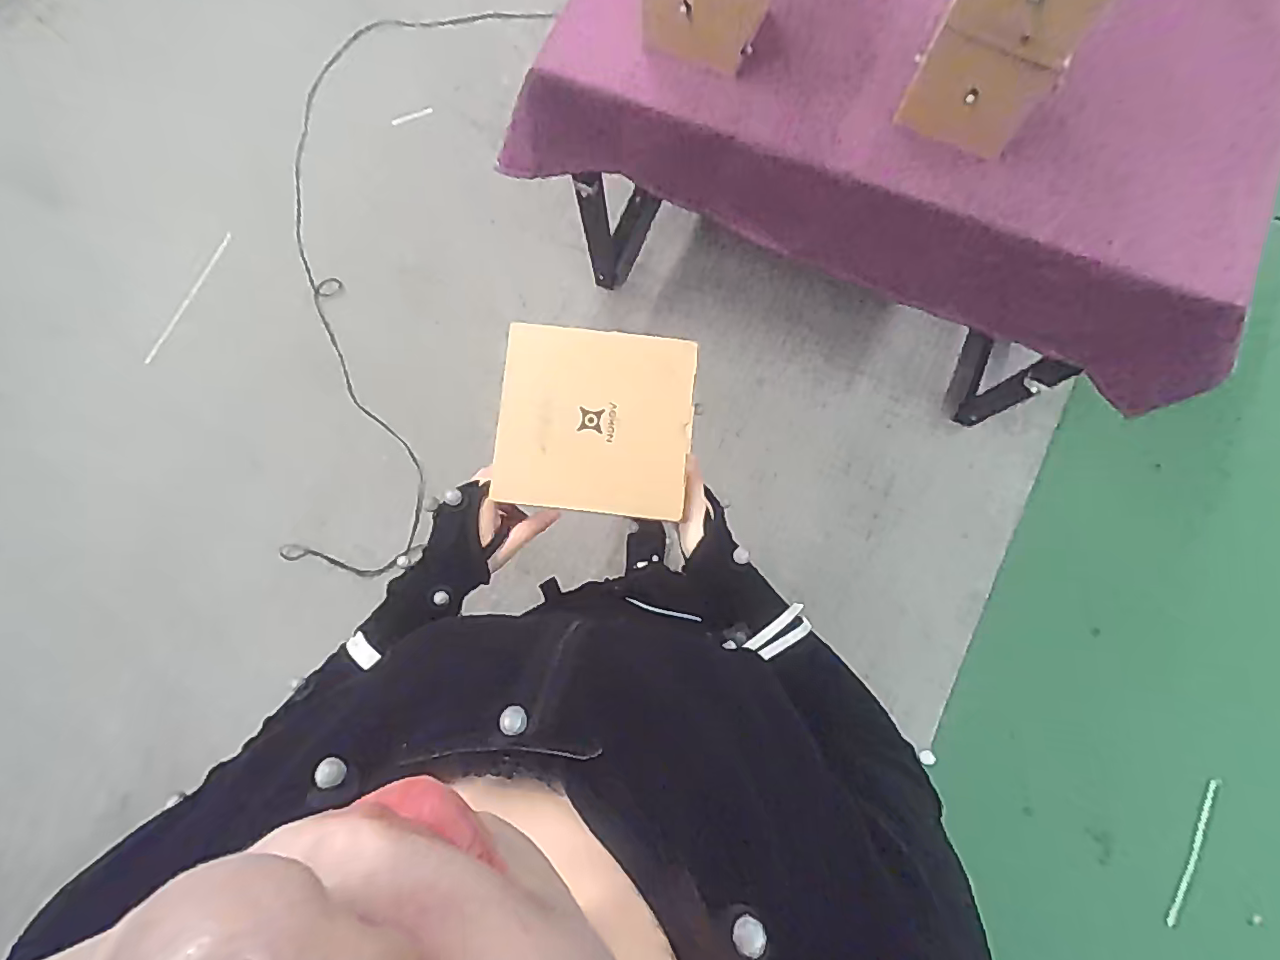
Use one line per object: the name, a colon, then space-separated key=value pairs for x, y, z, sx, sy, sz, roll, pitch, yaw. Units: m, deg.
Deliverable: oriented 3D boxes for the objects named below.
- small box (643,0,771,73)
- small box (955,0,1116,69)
small box: x=0.116 y=-0.803 z=0.861 sx=0.179 sy=0.176 sz=0.168 roll=25 pitch=81 yaw=6
small box: x=0.523 y=-0.661 z=0.658 sx=0.168 sy=0.176 sz=0.179 roll=29 pitch=83 yaw=7
